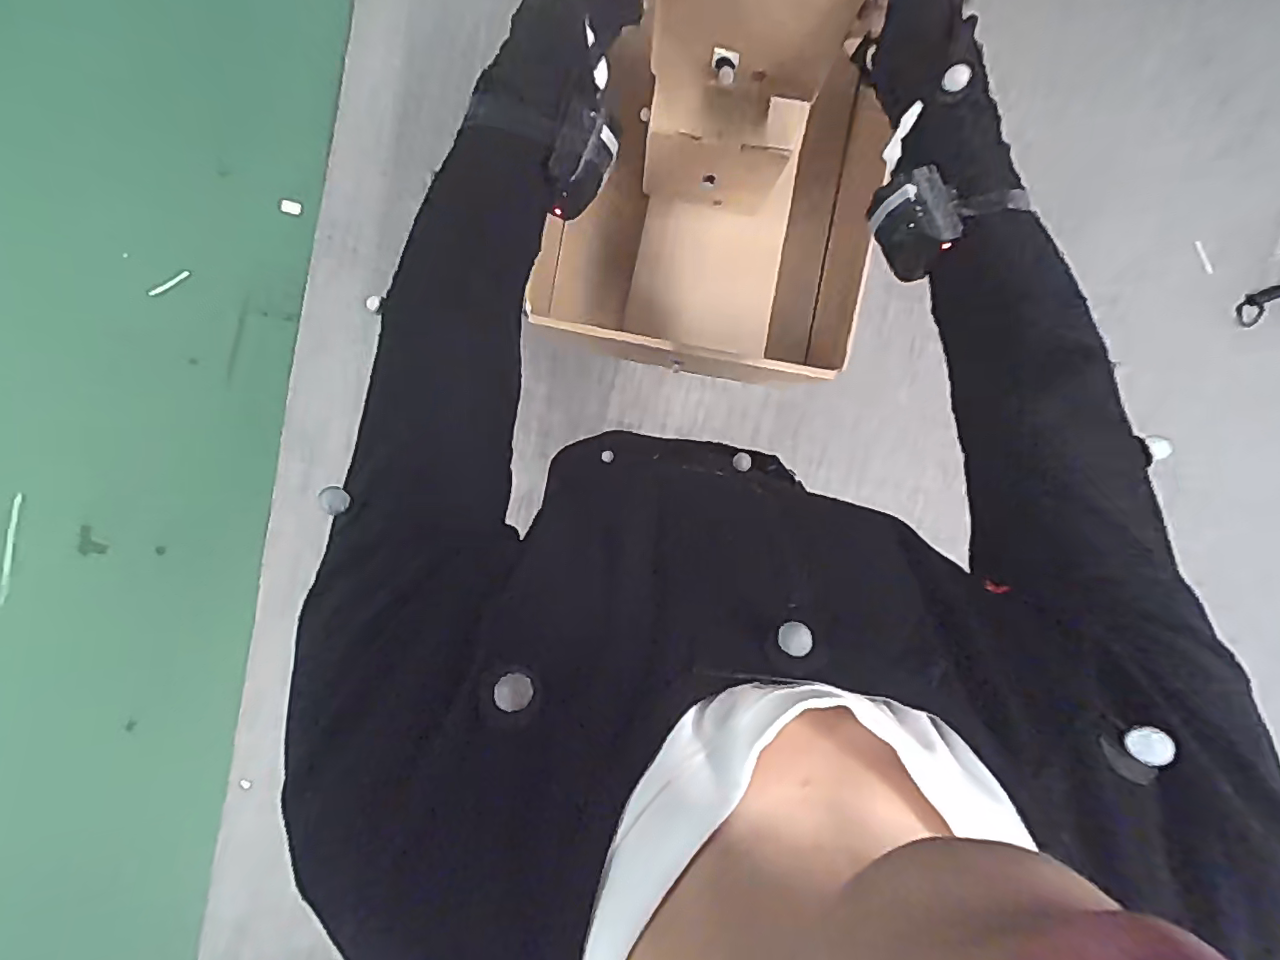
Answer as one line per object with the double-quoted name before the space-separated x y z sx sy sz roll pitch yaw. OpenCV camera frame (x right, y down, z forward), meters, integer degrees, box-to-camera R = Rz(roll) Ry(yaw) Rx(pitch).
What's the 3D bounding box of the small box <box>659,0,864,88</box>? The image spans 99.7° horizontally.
"small box" 0.108 -0.473 0.441 0.168 0.176 0.179 9 96 0
